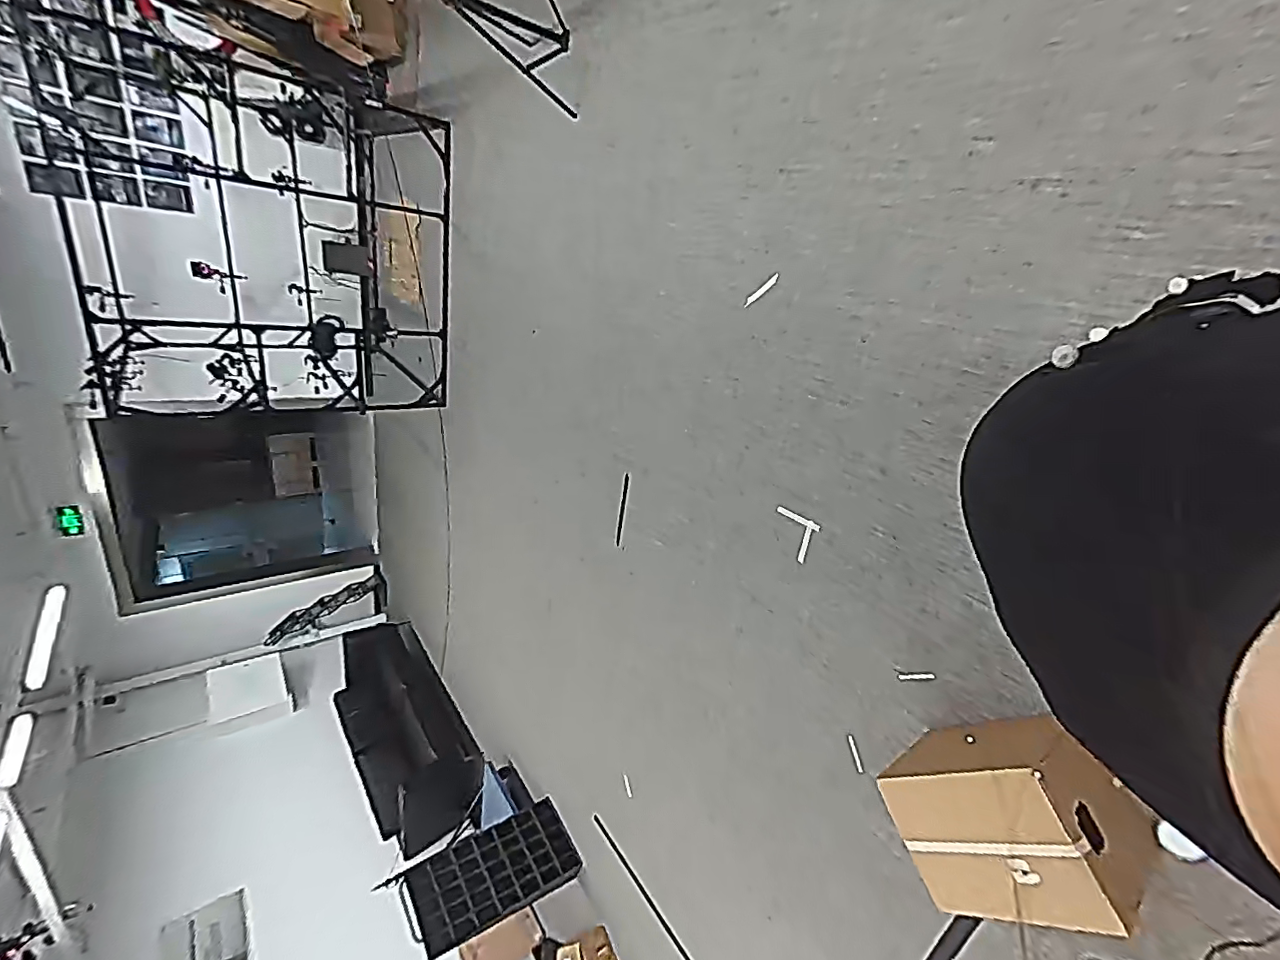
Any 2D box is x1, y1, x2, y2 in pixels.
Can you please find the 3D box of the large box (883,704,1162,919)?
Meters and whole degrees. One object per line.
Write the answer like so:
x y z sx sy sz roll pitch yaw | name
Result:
0.894 0.775 1.298 0.408 0.320 0.320 -43 64 46 | large box
